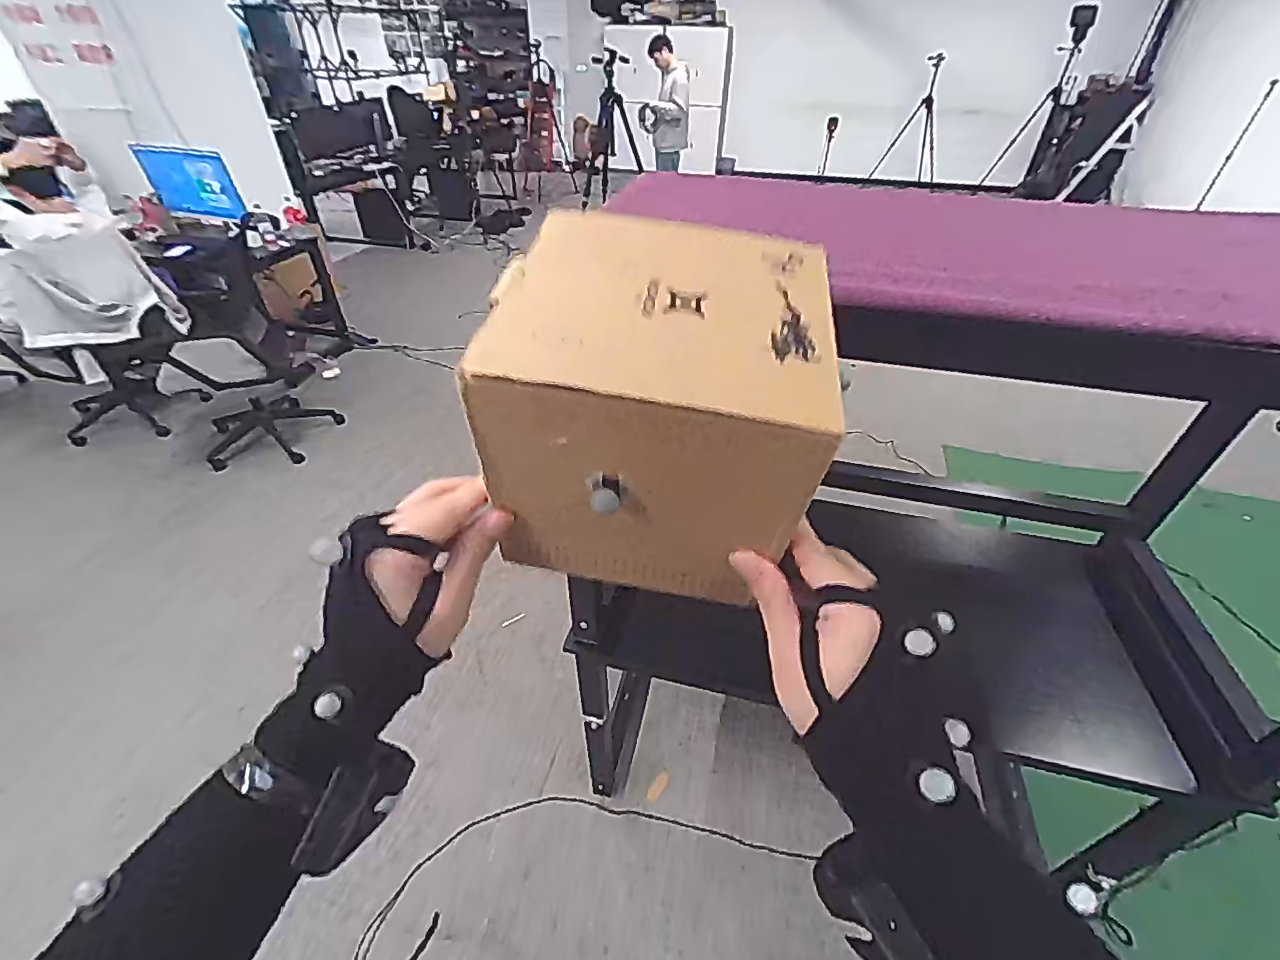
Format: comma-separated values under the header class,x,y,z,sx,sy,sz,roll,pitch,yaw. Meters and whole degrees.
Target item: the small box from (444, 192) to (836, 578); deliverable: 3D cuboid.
class,x,y,z,sx,sy,sz,roll,pitch,yaw
small box,0.009,-0.055,0.343,0.179,0.176,0.168,9,52,5
